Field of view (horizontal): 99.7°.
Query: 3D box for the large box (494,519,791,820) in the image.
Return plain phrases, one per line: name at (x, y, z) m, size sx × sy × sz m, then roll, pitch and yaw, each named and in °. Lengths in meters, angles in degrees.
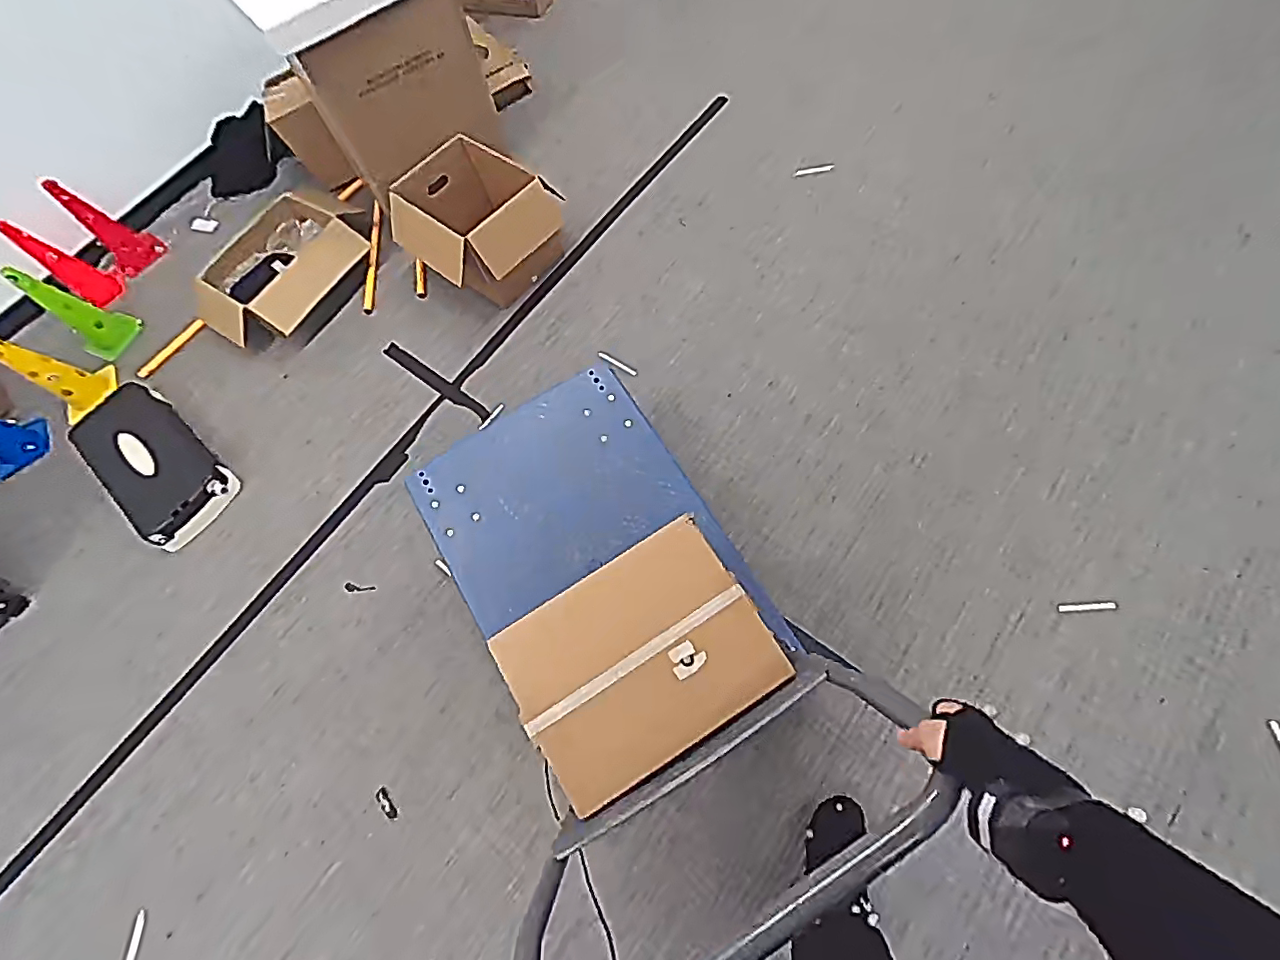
large box at (0.007, 0.338, 1.026) m, size 0.408 × 0.320 × 0.320 m, roll -32°, pitch 75°, yaw -6°
